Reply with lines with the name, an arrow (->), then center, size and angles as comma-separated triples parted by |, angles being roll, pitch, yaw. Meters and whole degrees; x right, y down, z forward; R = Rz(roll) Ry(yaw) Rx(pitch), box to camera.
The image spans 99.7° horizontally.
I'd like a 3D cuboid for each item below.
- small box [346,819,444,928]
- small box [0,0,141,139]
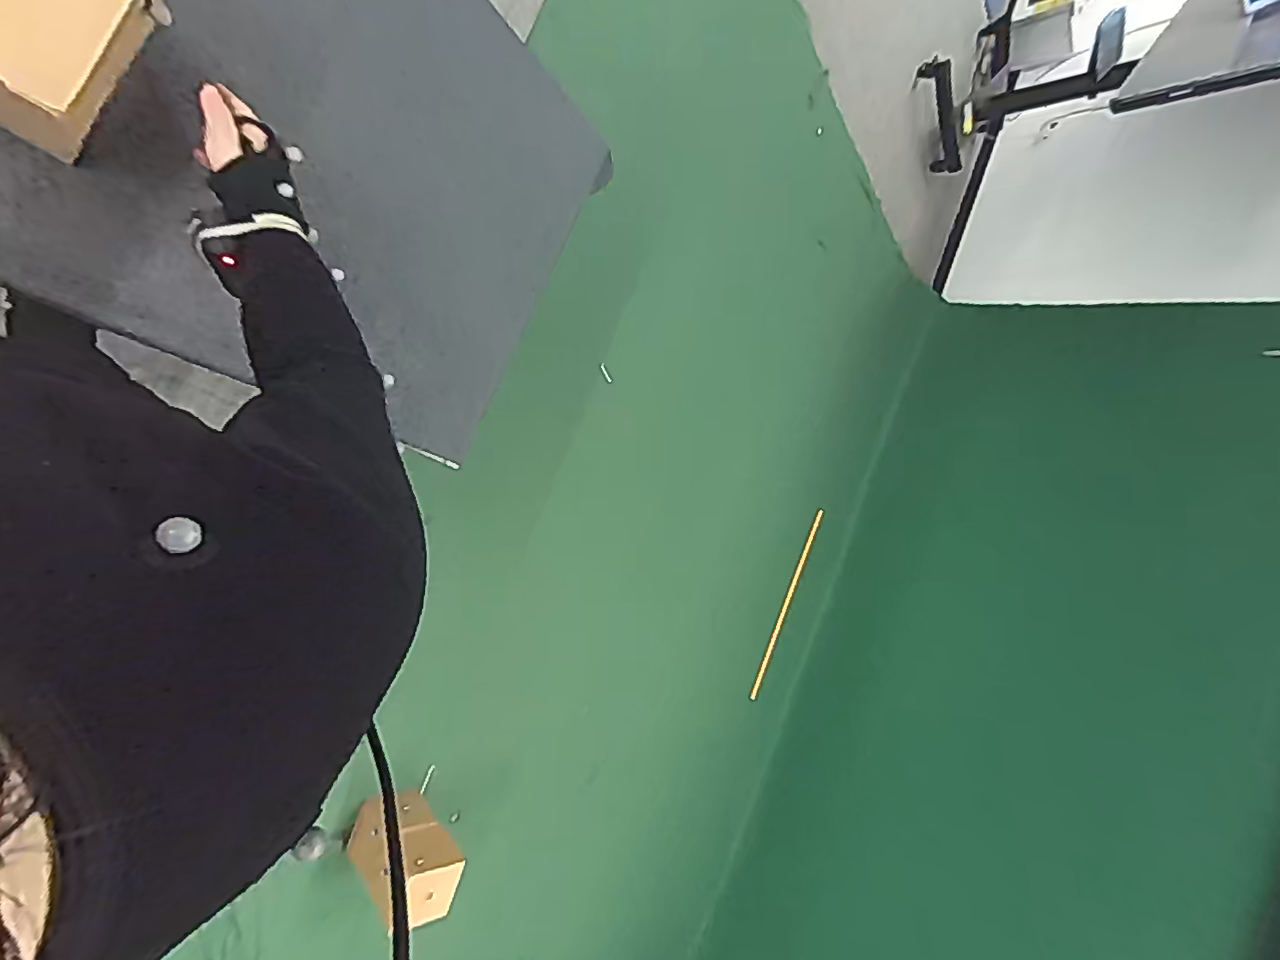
small box -> -0.700, 1.107, 1.541 | 0.179, 0.176, 0.168 | 22, 87, -48
small box -> -0.501, -0.398, 0.398 | 0.168, 0.176, 0.179 | 30, 80, -46
